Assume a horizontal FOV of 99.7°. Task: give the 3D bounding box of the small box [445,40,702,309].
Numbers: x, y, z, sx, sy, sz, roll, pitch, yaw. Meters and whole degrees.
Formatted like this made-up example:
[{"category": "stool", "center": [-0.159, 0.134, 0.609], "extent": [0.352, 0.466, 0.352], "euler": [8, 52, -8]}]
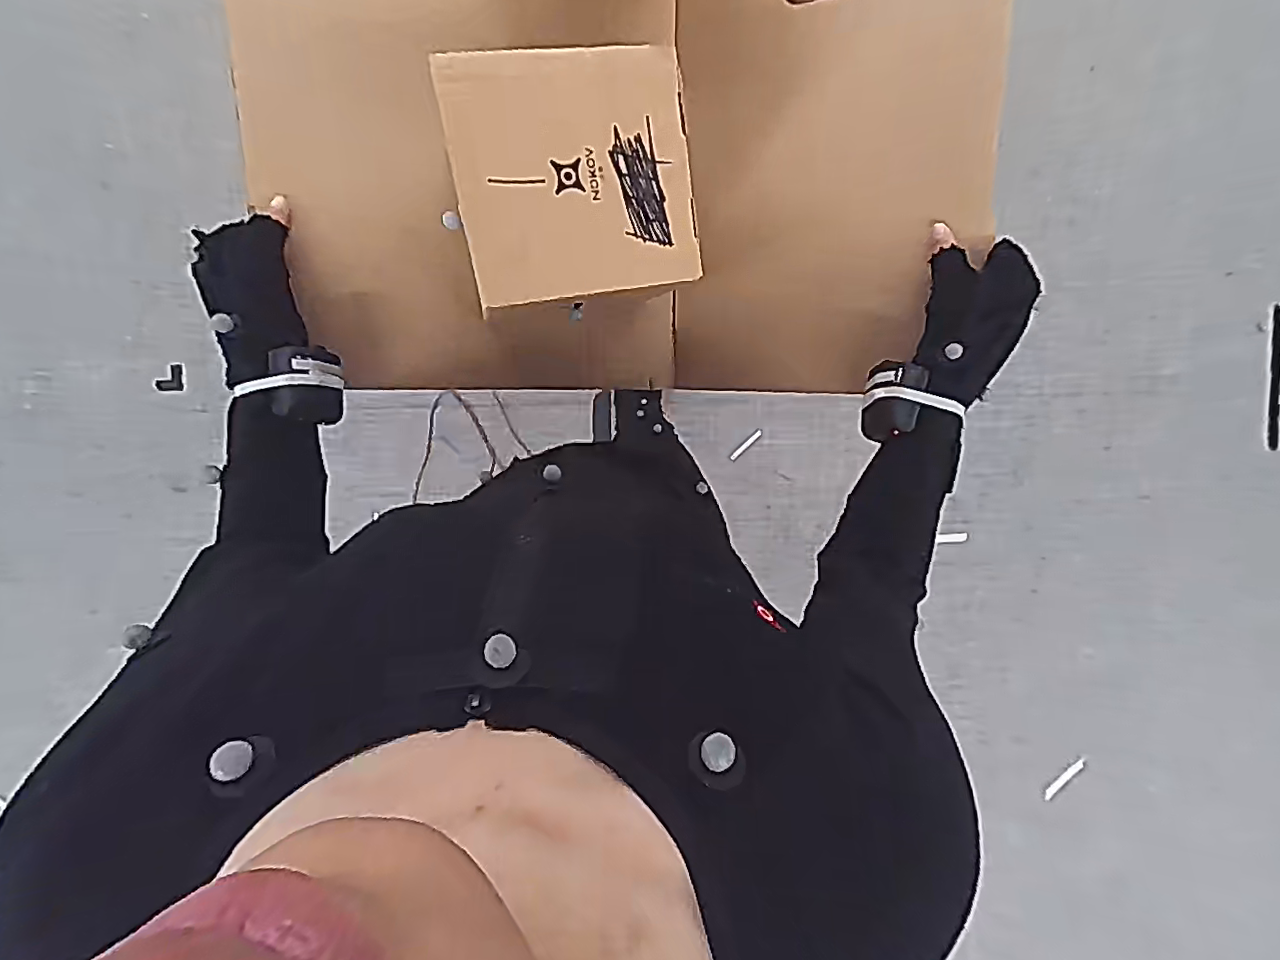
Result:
[{"category": "small box", "center": [-0.063, -0.252, 0.482], "extent": [0.179, 0.176, 0.168], "euler": [-12, 105, -12]}]
